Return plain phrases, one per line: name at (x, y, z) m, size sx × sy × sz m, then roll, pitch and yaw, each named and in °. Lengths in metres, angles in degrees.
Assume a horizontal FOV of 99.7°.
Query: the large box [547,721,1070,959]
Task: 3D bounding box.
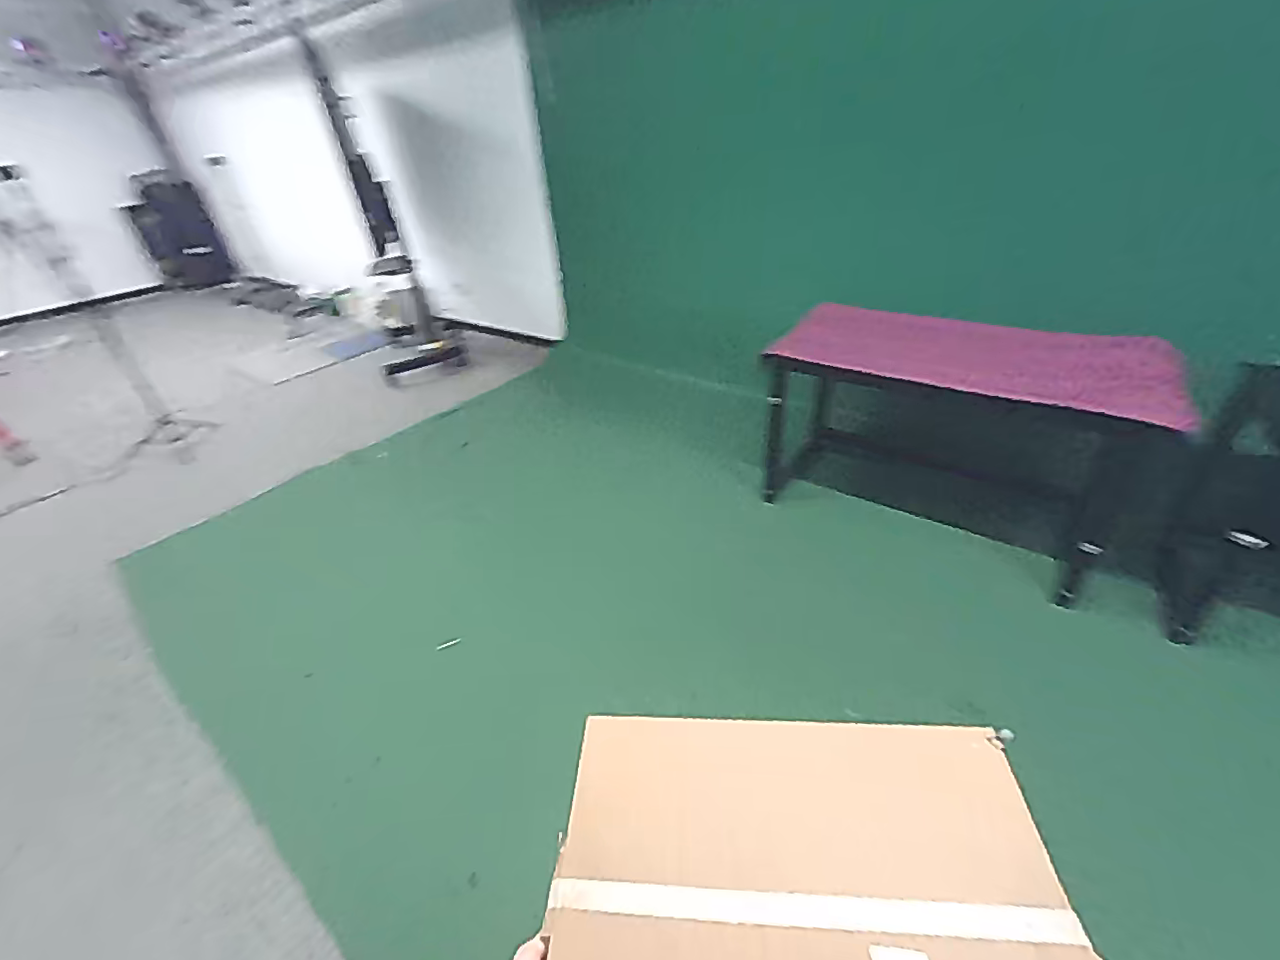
large box at (0.136, 0.464, 0.532) m, size 0.408 × 0.320 × 0.320 m, roll -2°, pitch 38°, yaw 6°
